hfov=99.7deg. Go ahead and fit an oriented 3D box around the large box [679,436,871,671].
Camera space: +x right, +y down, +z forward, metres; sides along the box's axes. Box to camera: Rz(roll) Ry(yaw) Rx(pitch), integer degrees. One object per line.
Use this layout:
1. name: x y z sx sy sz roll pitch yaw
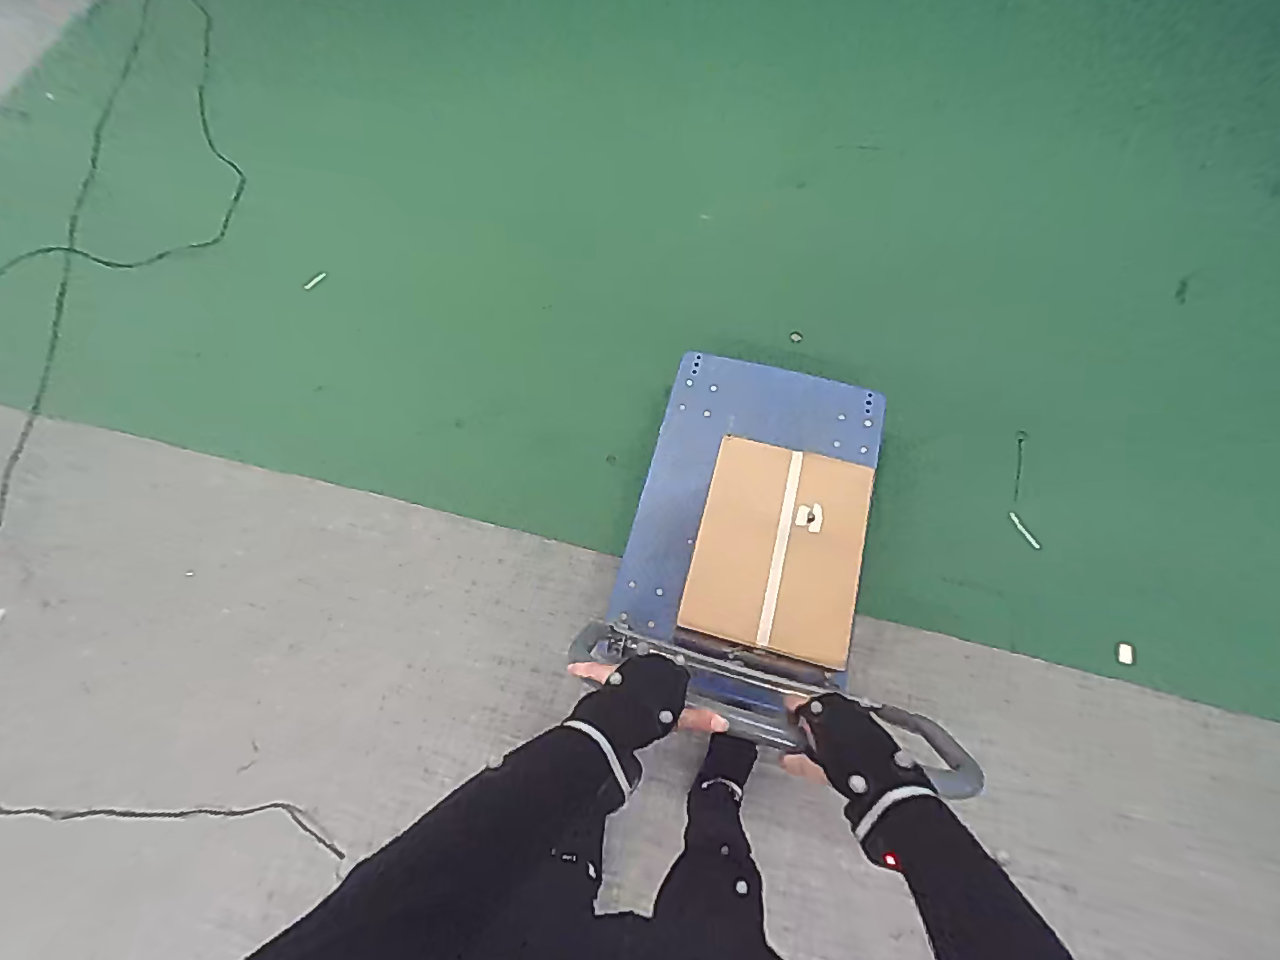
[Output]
1. large box: 0.277 0.173 1.177 0.320 0.320 0.408 14 71 6
